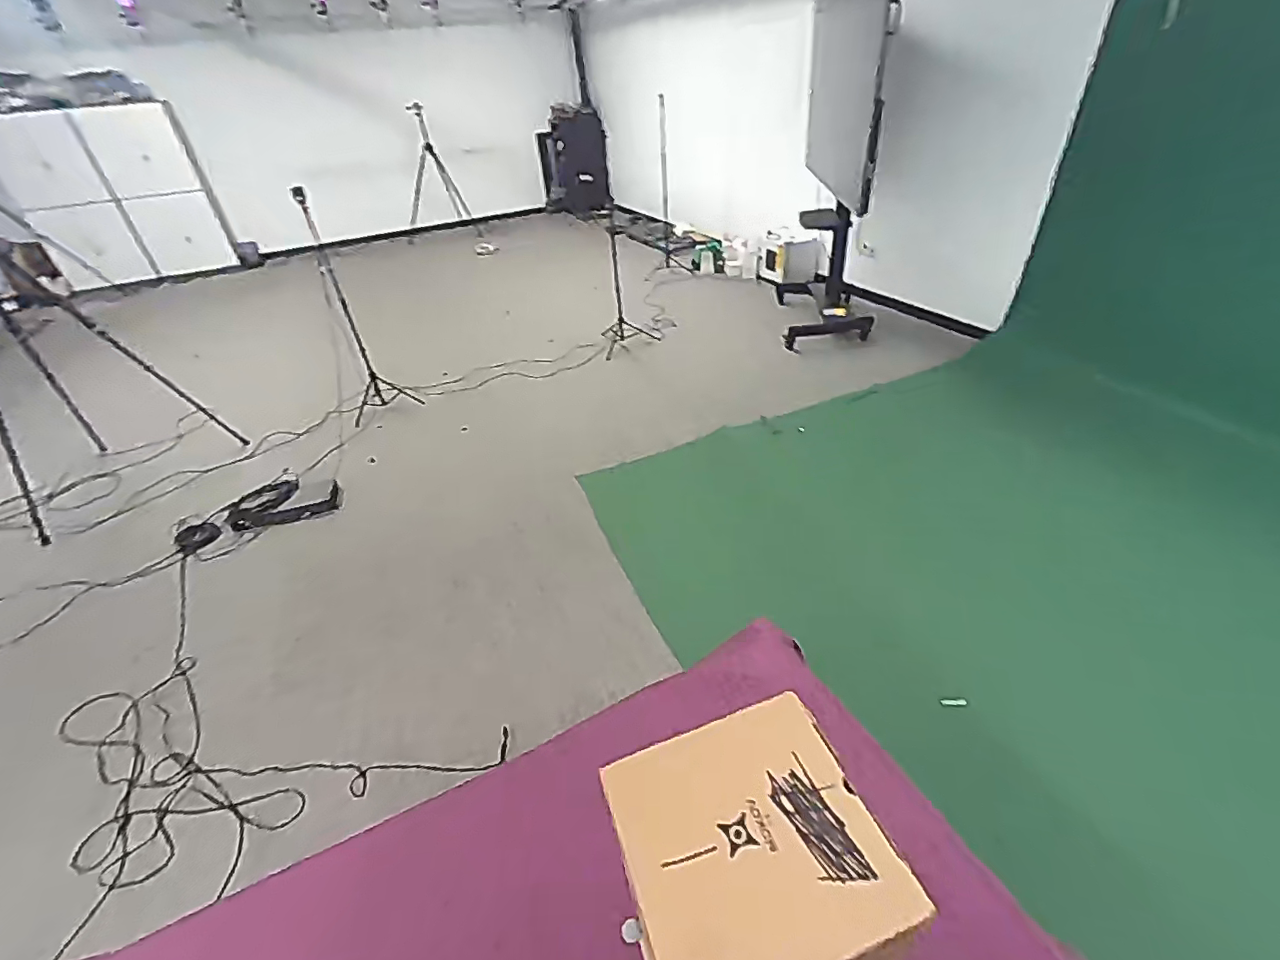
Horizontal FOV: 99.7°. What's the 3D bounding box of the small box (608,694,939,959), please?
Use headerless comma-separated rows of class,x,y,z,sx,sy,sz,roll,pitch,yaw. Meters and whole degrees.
small box,0.086,0.309,0.426,0.179,0.176,0.168,-16,38,-12
